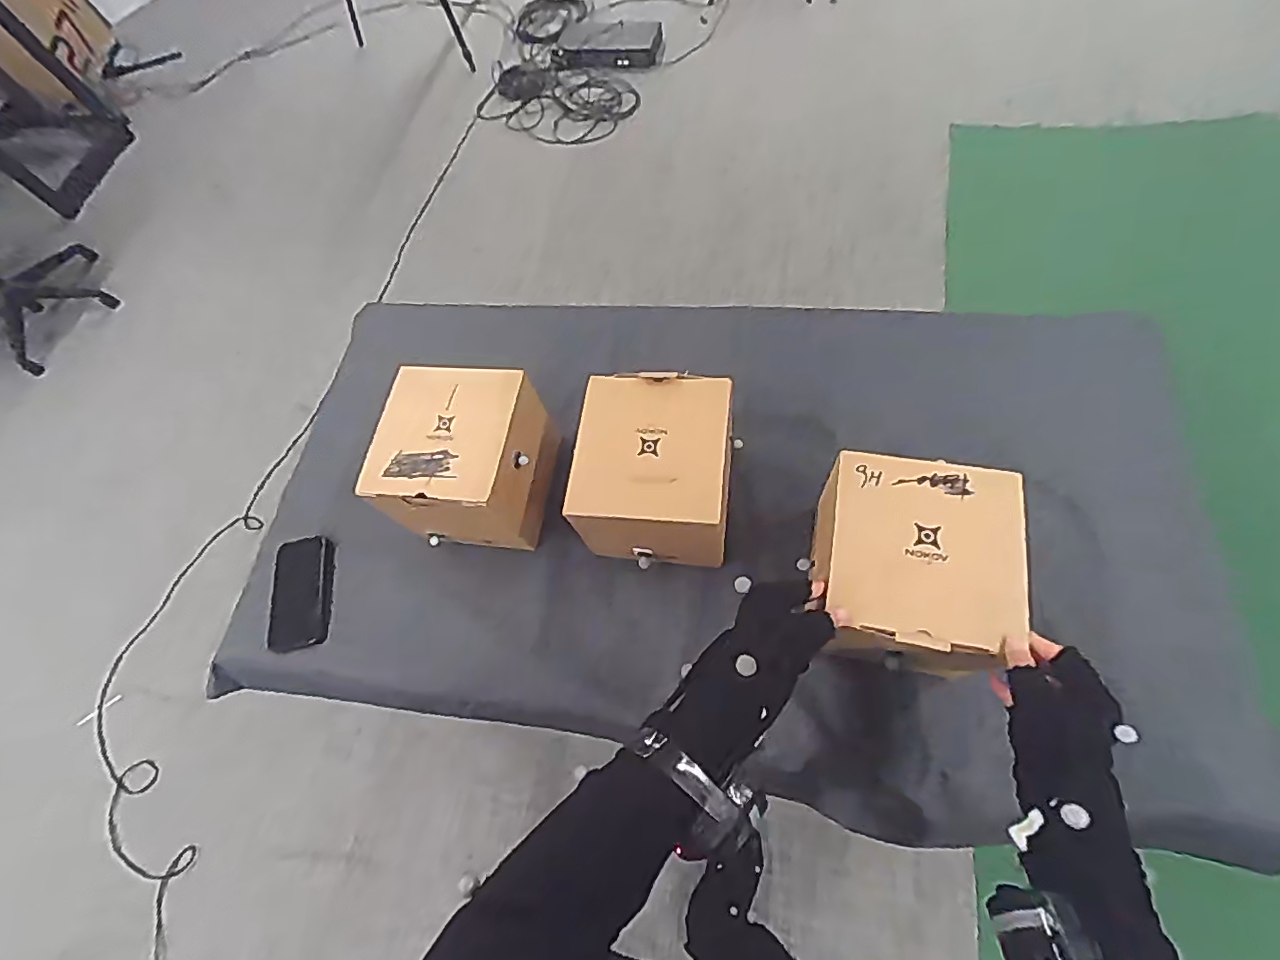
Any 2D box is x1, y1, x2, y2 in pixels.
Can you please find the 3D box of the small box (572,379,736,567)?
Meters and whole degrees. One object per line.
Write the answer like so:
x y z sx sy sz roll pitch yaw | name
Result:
0.029 -0.004 0.661 0.168 0.176 0.179 2 67 11 | small box

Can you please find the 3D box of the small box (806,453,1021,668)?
0.277 0.093 0.577 0.168 0.176 0.179 9 68 13 | small box

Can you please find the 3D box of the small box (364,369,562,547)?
-0.212 -0.022 0.703 0.168 0.176 0.179 4 66 11 | small box
